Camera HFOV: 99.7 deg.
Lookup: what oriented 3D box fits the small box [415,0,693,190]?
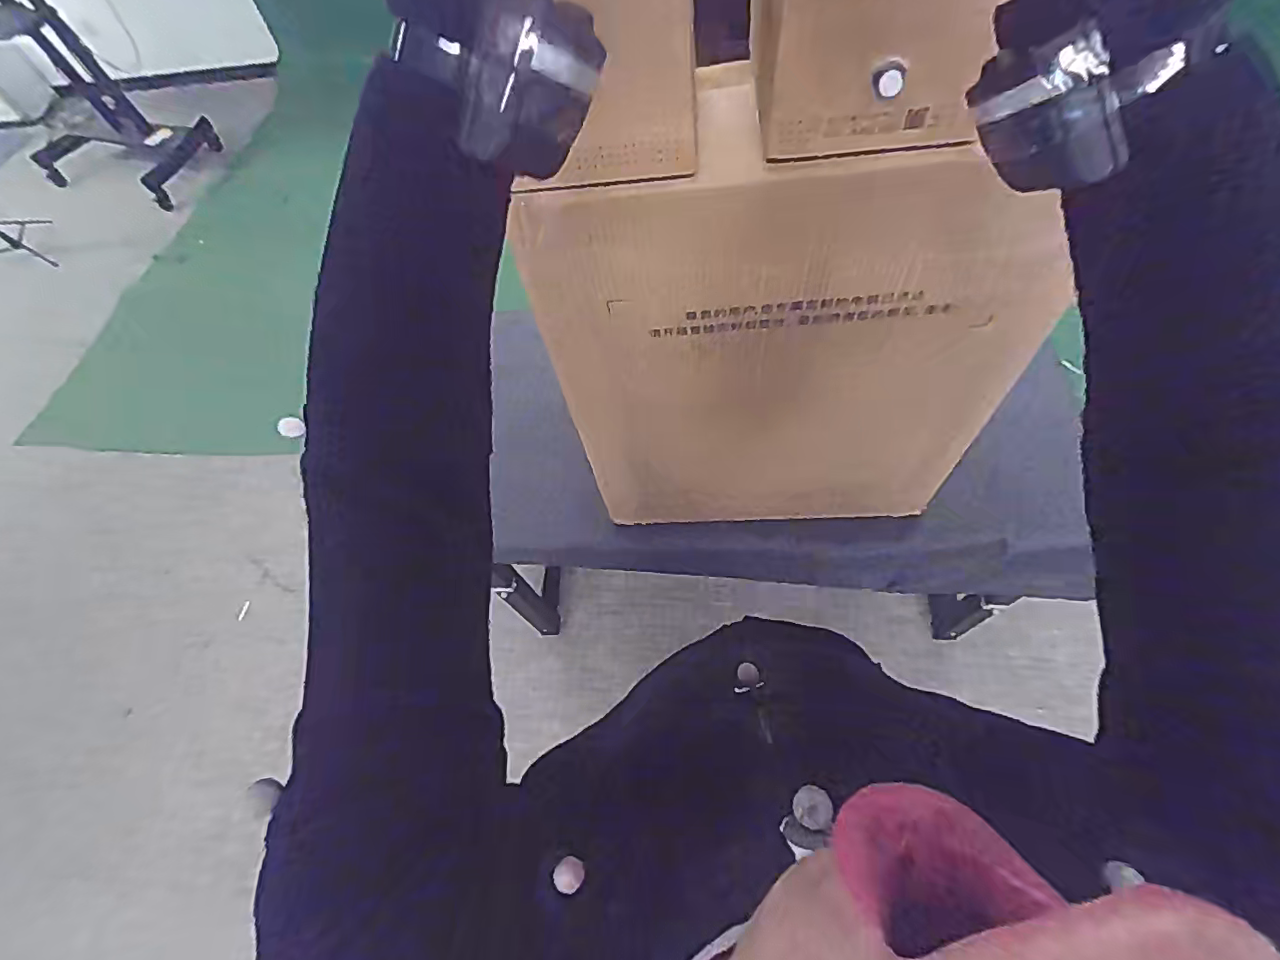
[{"bbox_3d":[-0.052,-0.342,0.400,0.179,0.176,0.168,-2,62,6],"label":"small box"}]

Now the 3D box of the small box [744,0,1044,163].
[{"bbox_3d":[0.168,-0.358,0.381,0.168,0.176,0.179,-2,63,5],"label":"small box"}]
